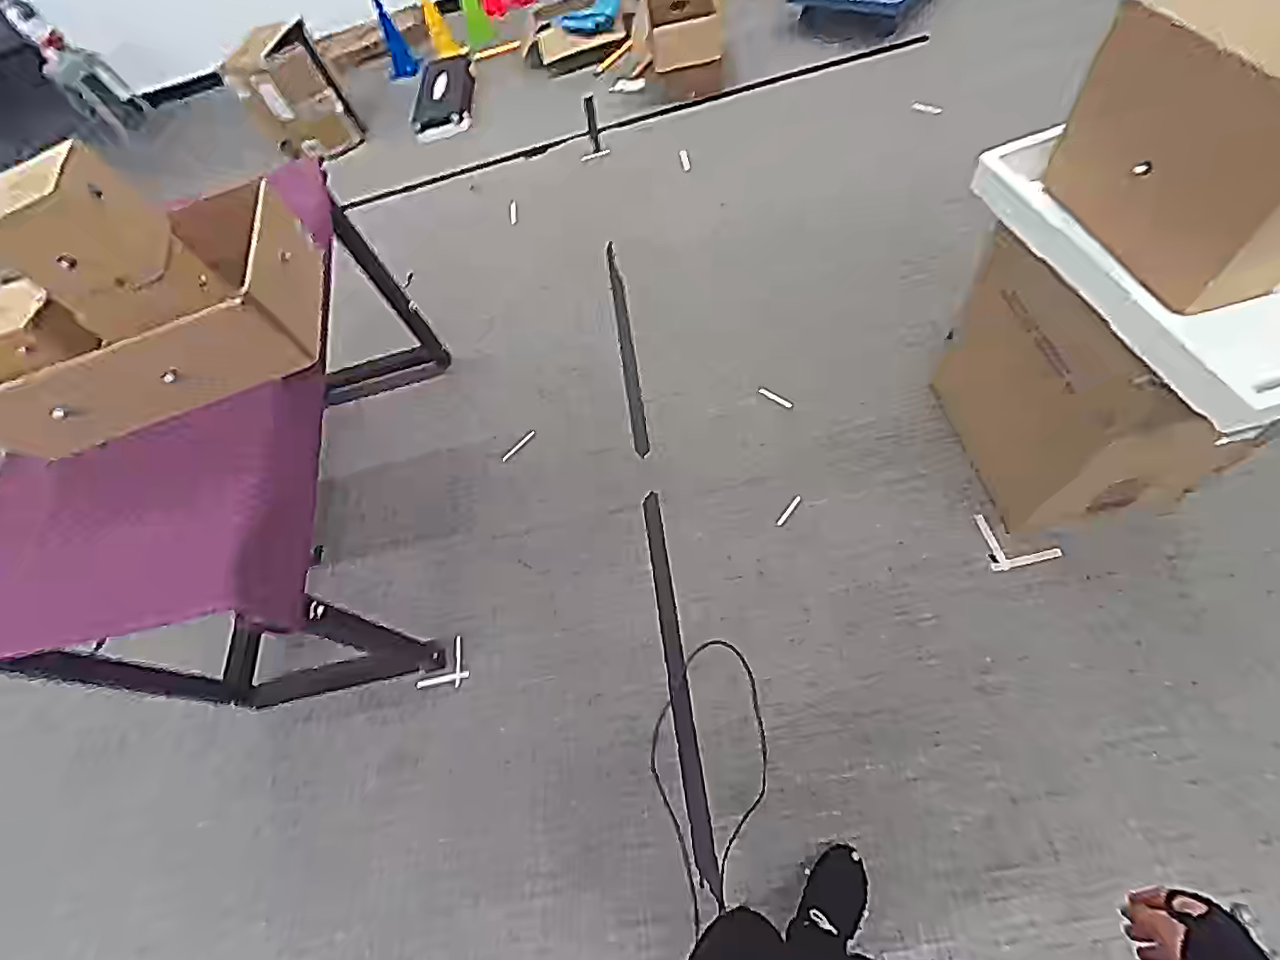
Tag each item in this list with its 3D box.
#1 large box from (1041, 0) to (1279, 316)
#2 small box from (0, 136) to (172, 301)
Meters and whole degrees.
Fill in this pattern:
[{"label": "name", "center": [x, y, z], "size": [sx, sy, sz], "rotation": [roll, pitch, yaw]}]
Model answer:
[{"label": "large box", "center": [0.939, -0.532, 0.829], "size": [0.320, 0.320, 0.408], "rotation": [-15, 58, 3]}, {"label": "small box", "center": [-0.953, -0.433, 0.922], "size": [0.168, 0.176, 0.179], "rotation": [-24, 59, 1]}]
